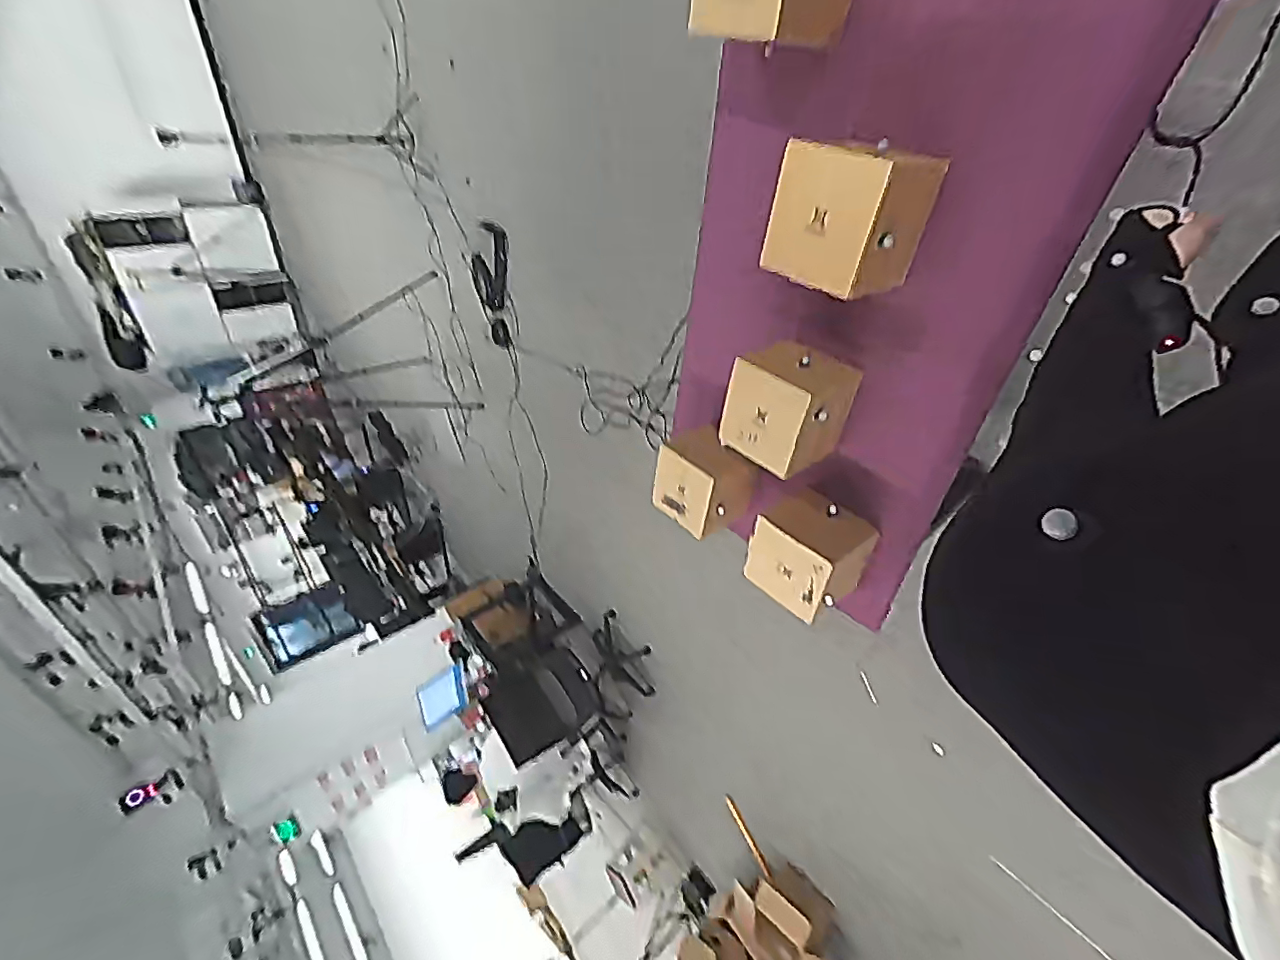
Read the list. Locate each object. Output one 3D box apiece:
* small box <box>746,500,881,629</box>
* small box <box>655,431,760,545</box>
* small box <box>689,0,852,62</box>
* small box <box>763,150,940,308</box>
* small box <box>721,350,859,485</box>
[{"bbox_3d":[0.348,0.159,1.099,0.179,0.176,0.168,37,137,37],"label":"small box"},{"bbox_3d":[0.158,0.013,1.264,0.168,0.176,0.179,37,135,34],"label":"small box"},{"bbox_3d":[0.197,-0.717,0.767,0.168,0.176,0.179,37,138,32],"label":"small box"},{"bbox_3d":[0.318,-0.386,0.816,0.168,0.176,0.179,37,138,33],"label":"small box"},{"bbox_3d":[0.281,-0.126,1.017,0.168,0.176,0.179,38,137,34],"label":"small box"}]
